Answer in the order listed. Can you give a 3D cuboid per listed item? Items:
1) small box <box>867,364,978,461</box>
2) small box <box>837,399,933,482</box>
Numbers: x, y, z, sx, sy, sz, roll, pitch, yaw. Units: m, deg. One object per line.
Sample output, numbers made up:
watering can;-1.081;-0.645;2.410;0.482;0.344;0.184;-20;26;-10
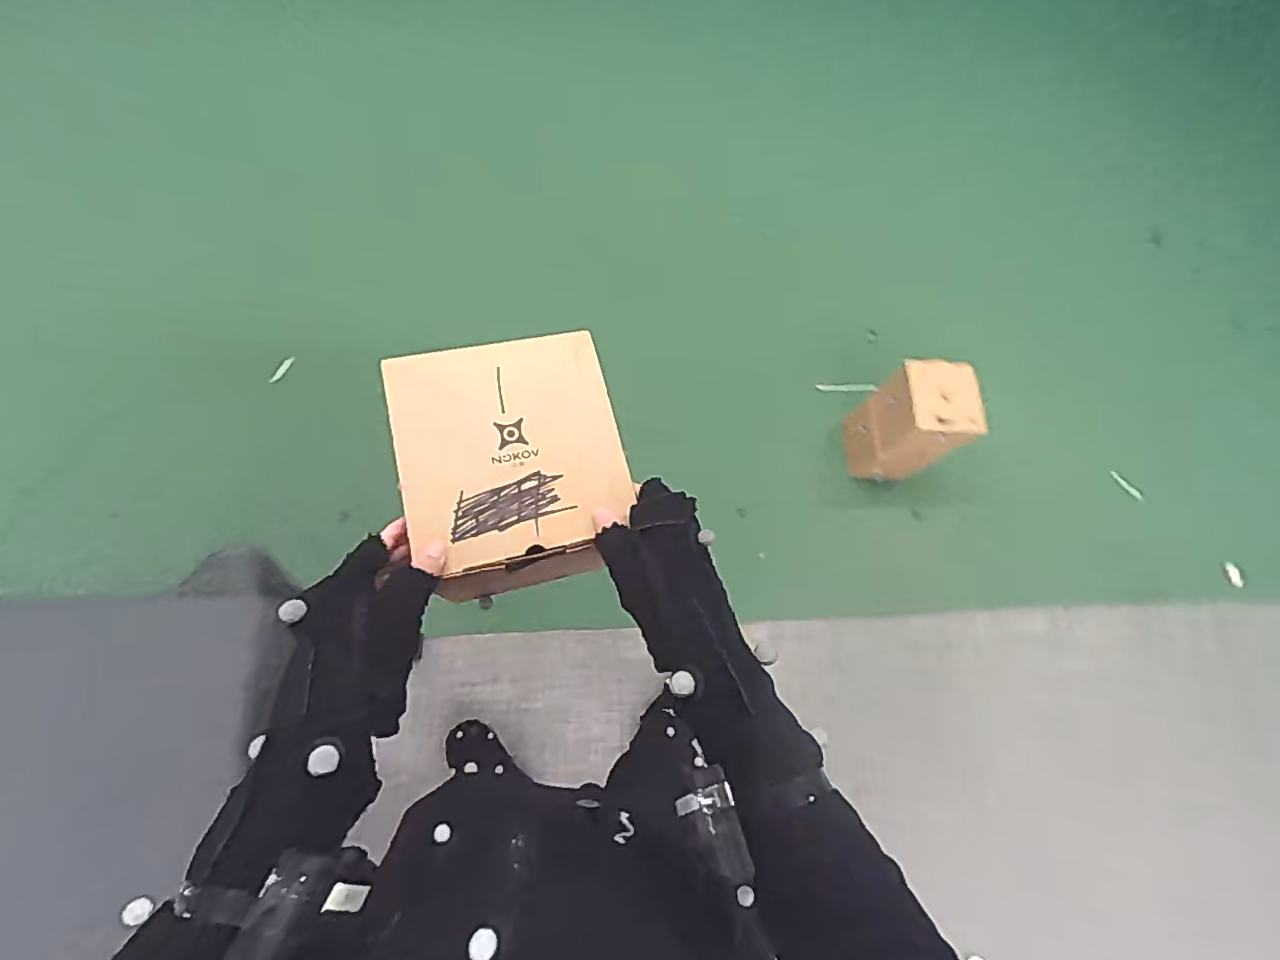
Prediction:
small box;0.679;-0.161;1.322;0.168;0.176;0.179;1;70;-6
small box;0.658;-0.104;1.475;0.168;0.176;0.179;0;73;-6
